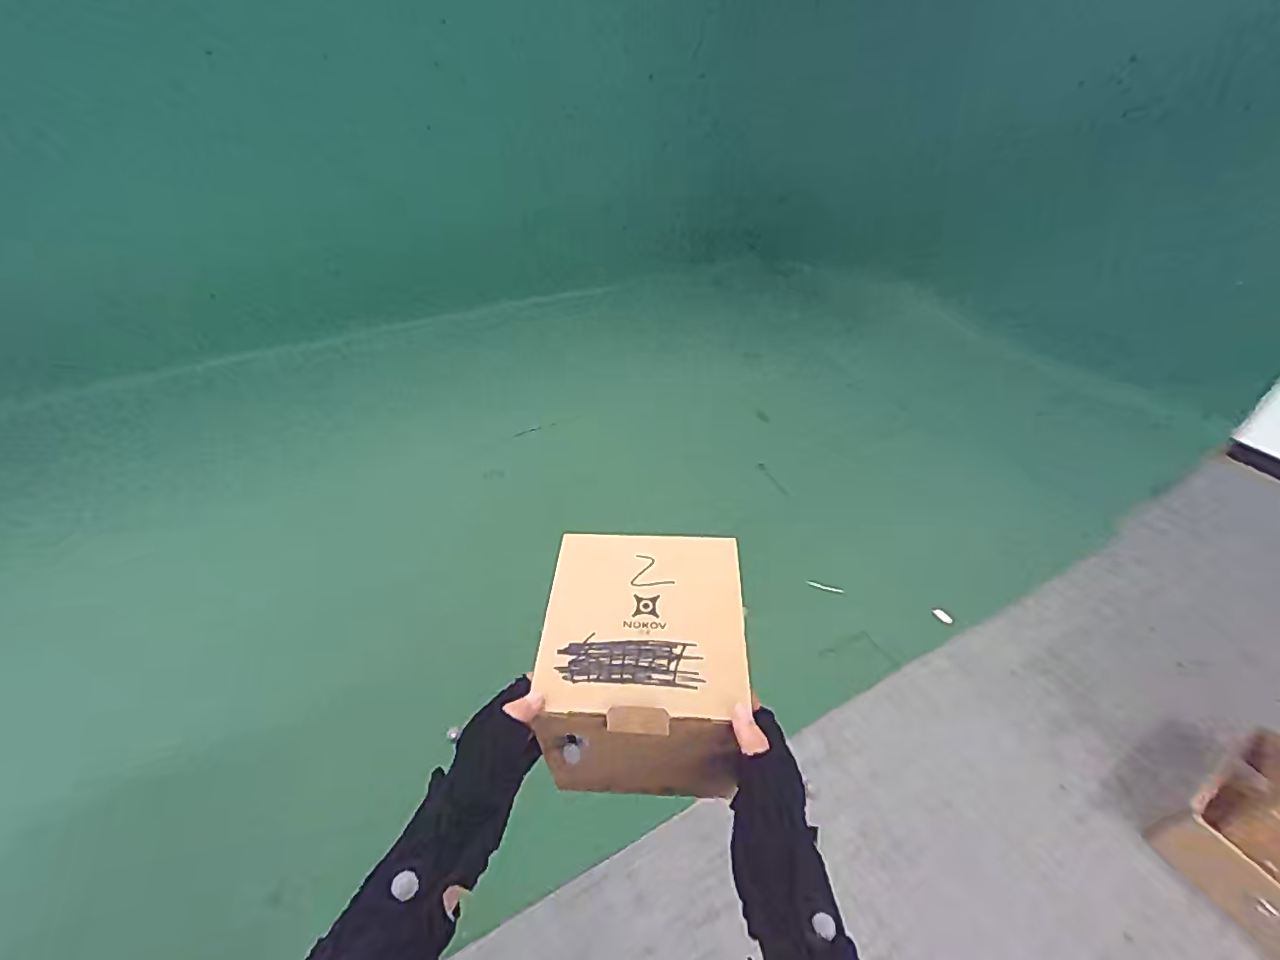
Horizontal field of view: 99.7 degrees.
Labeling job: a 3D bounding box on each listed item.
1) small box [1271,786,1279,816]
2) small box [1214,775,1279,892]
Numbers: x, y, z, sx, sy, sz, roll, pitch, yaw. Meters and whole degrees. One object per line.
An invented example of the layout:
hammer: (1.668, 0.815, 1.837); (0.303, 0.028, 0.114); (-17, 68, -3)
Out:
small box: (1.450, 0.655, 1.081); (0.179, 0.176, 0.168); (-21, 47, -23)
small box: (1.444, 0.777, 1.189); (0.179, 0.176, 0.168); (-20, 46, -22)
